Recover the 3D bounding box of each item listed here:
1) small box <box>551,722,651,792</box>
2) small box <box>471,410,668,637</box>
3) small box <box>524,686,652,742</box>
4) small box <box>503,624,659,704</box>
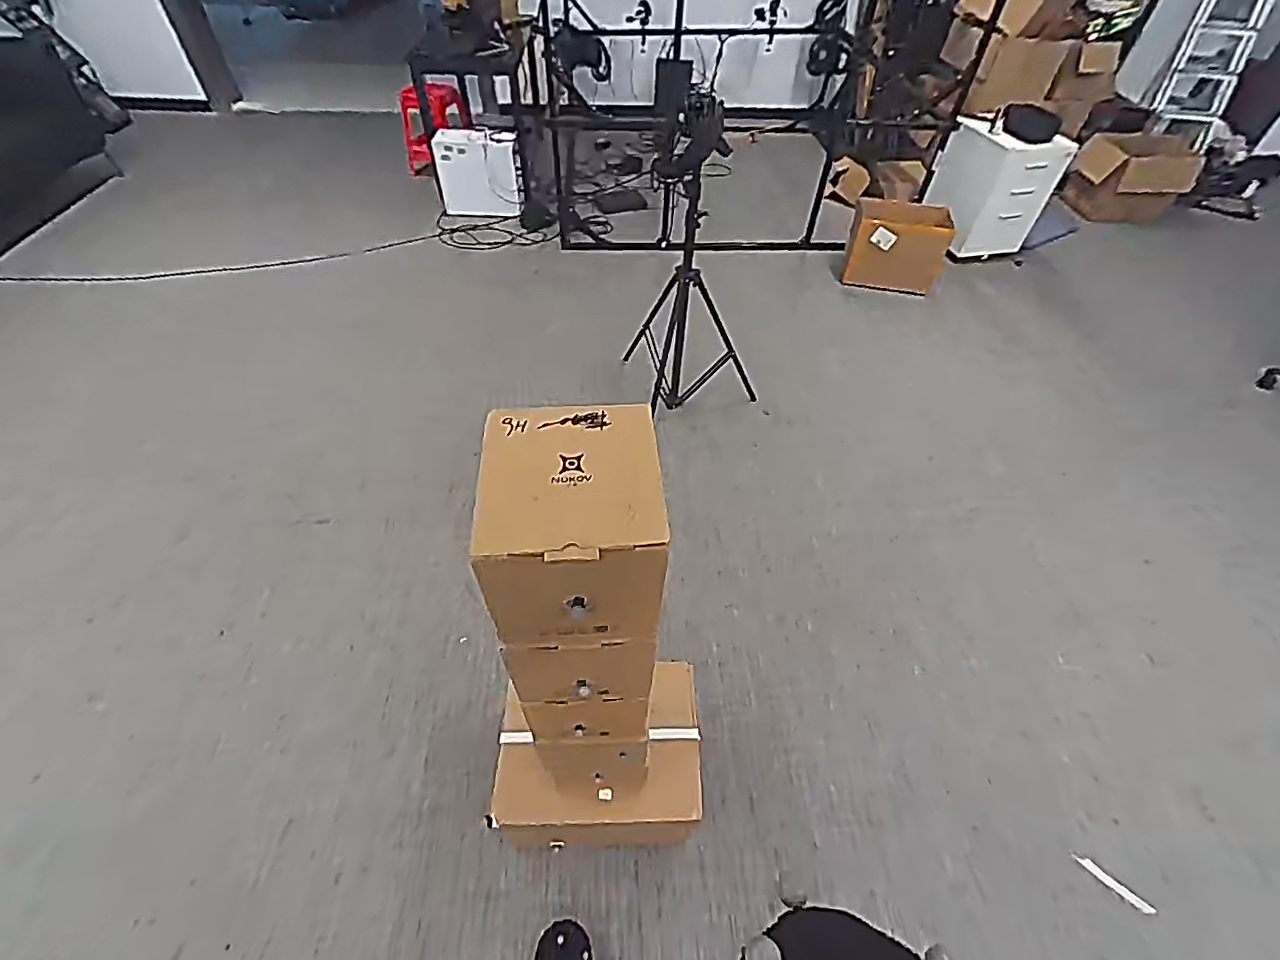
[{"bbox_3d":[-0.074,0.490,1.040,0.179,0.176,0.168,-1,50,-5],"label":"small box"},{"bbox_3d":[-0.065,0.050,0.554,0.168,0.176,0.179,-3,51,-5],"label":"small box"},{"bbox_3d":[-0.074,0.269,0.799,0.168,0.176,0.179,-2,50,-4],"label":"small box"},{"bbox_3d":[-0.070,0.160,0.676,0.168,0.176,0.179,-3,51,-4],"label":"small box"}]
